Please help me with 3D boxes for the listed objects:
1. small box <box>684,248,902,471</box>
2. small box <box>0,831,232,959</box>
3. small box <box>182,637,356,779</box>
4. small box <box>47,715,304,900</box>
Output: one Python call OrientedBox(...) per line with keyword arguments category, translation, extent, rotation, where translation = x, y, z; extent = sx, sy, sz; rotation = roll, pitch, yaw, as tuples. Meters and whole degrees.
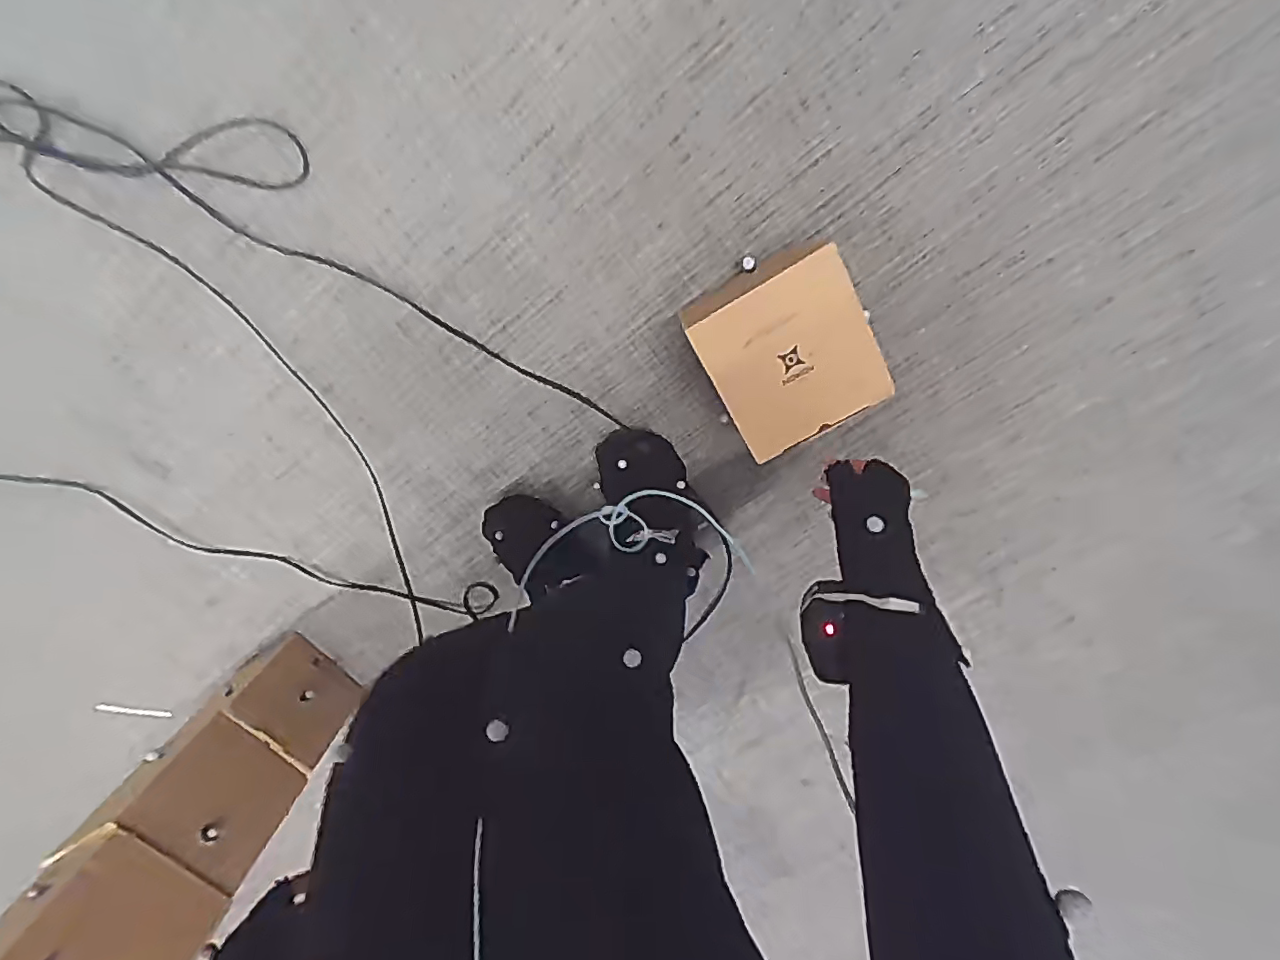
OrientedBox(category="small box", translation=(0.162, -0.145, 0.618), extent=(0.168, 0.176, 0.179), rotation=(-28, 111, 13))
OrientedBox(category="small box", translation=(-0.625, 0.543, 0.609), extent=(0.168, 0.176, 0.179), rotation=(-31, 109, 16))
OrientedBox(category="small box", translation=(-0.612, 0.397, 0.902), extent=(0.179, 0.176, 0.168), rotation=(-32, 109, 15))
OrientedBox(category="small box", translation=(-0.624, 0.469, 0.754), extent=(0.168, 0.176, 0.179), rotation=(-31, 109, 15))
